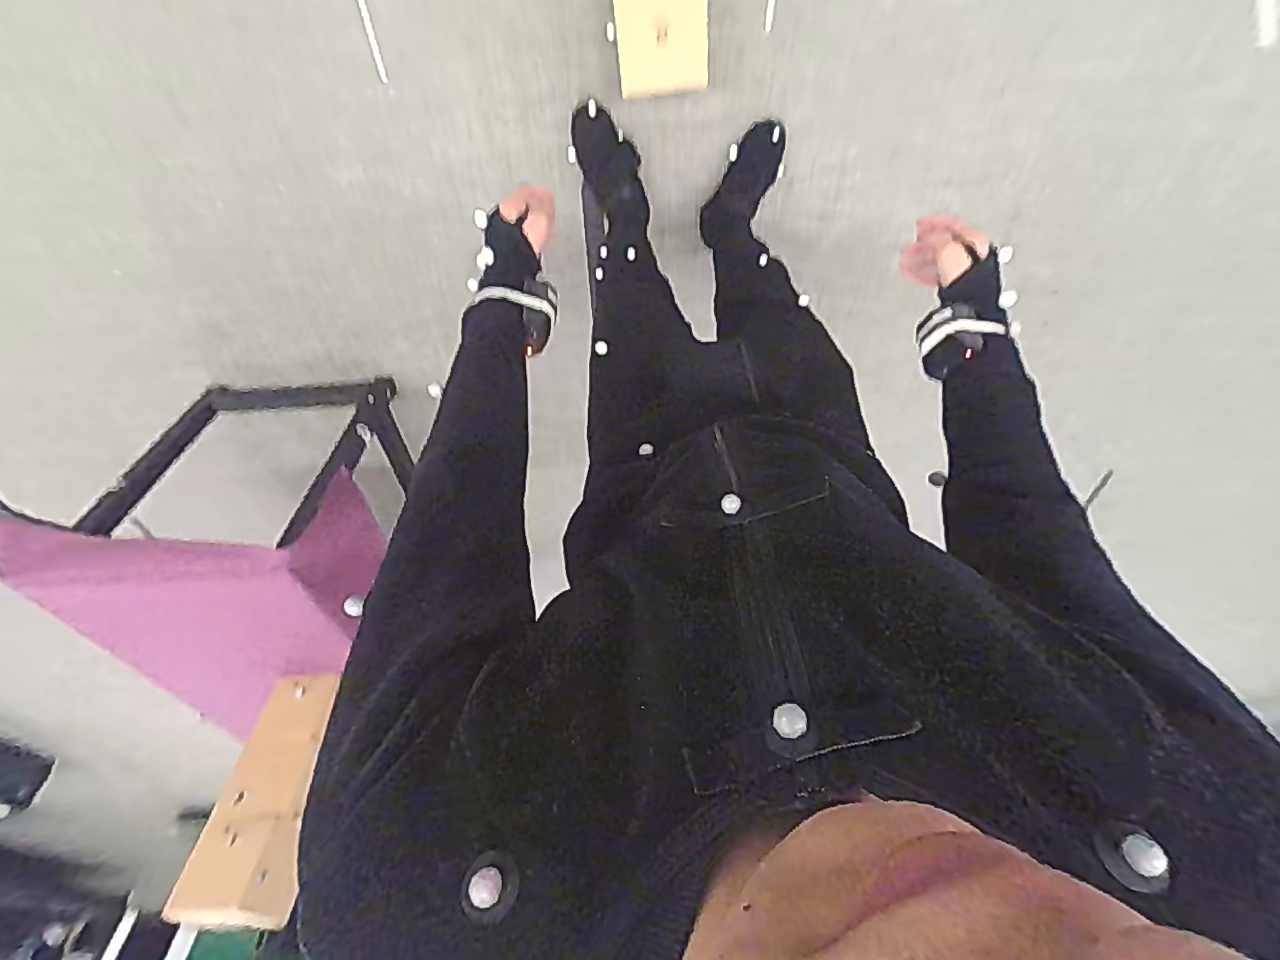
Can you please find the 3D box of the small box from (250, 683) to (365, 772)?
[{"bbox_3d":[-0.863,0.656,1.427,0.168,0.176,0.179,-6,133,4],"label":"small box"}]

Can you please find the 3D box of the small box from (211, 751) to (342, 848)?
[{"bbox_3d":[-0.865,0.770,1.308,0.179,0.176,0.168,-1,134,0],"label":"small box"}]

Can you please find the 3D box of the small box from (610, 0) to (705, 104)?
[{"bbox_3d":[0.034,-0.846,1.032,0.168,0.176,0.179,-5,133,3],"label":"small box"}]
